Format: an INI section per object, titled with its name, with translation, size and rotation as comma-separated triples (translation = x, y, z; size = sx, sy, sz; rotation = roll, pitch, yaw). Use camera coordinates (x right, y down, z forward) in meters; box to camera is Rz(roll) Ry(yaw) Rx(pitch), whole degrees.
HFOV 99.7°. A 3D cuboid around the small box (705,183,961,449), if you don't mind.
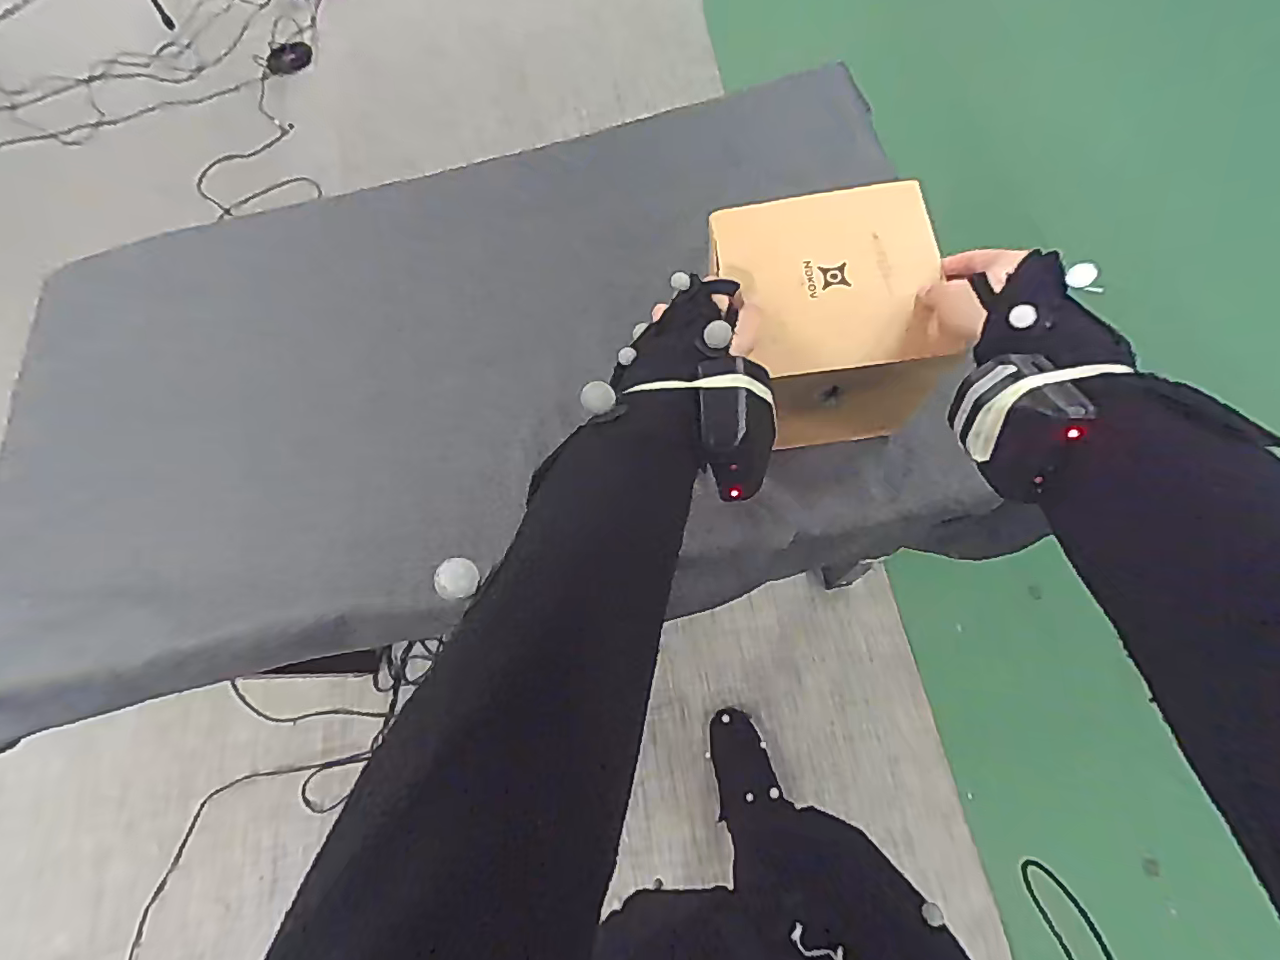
[small box]
translation = 0.158, -0.137, 0.508
size = 0.179, 0.176, 0.168
rotation = -6, 73, 4
